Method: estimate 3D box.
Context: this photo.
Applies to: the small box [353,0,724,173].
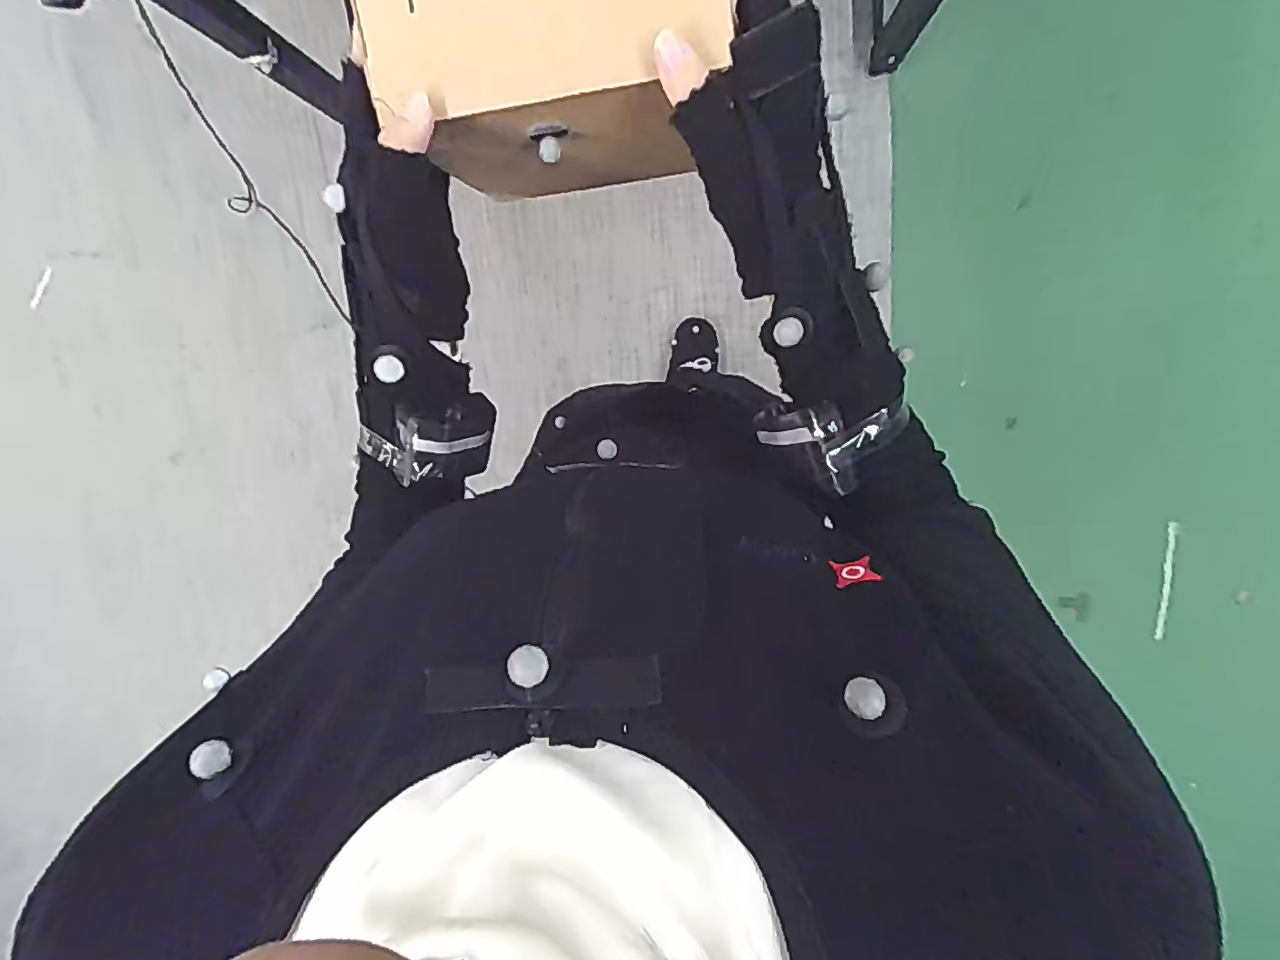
[{"bbox_3d":[-0.047,-0.295,0.309,0.179,0.176,0.168,-5,106,7],"label":"small box"}]
